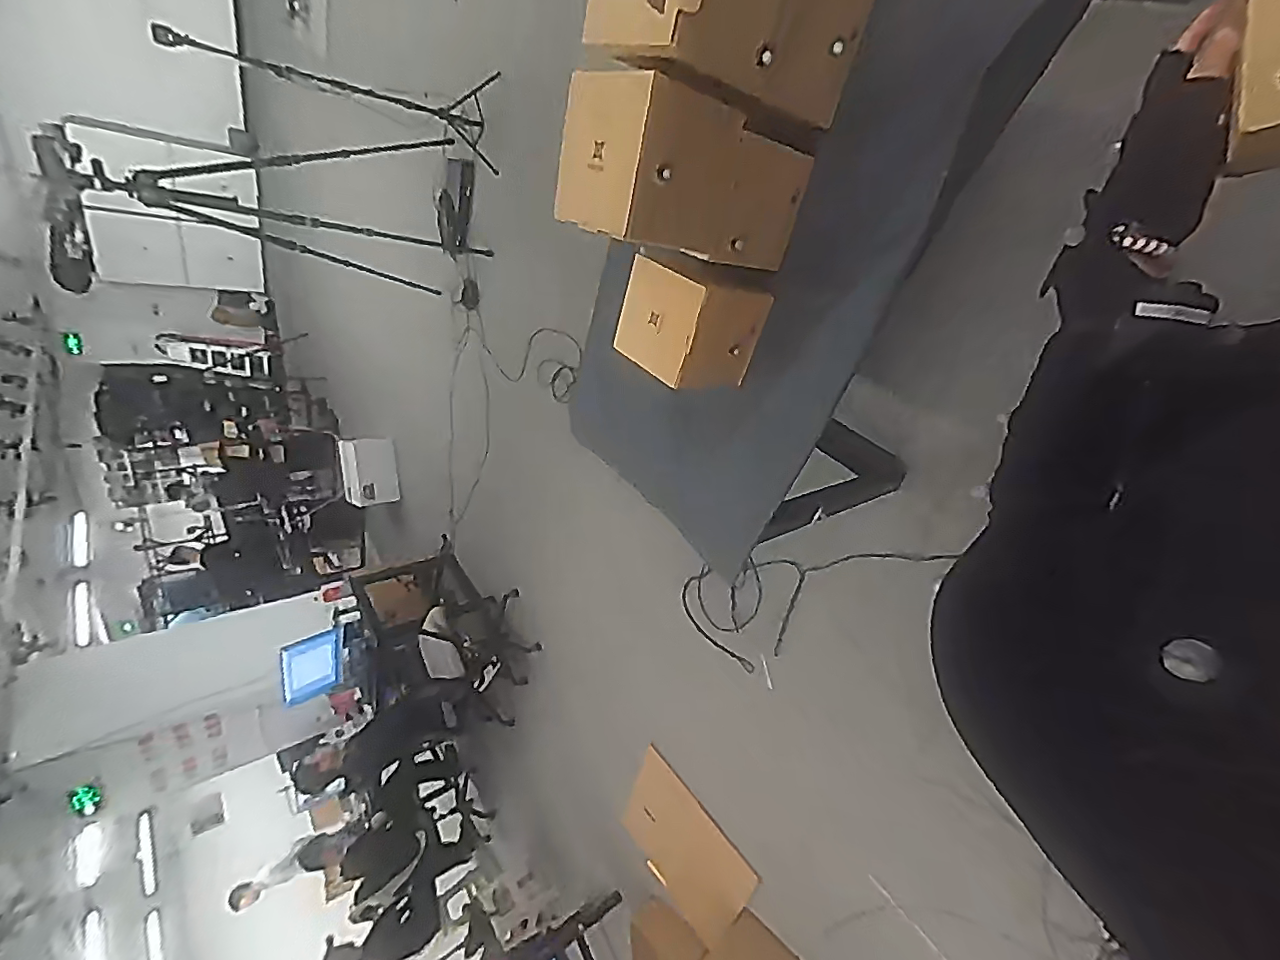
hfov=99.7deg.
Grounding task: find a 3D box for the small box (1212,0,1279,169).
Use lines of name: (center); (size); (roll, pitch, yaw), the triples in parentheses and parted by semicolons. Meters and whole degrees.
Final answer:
small box: (0.448, -0.294, 0.290); (0.179, 0.176, 0.168); (5, 105, 43)
